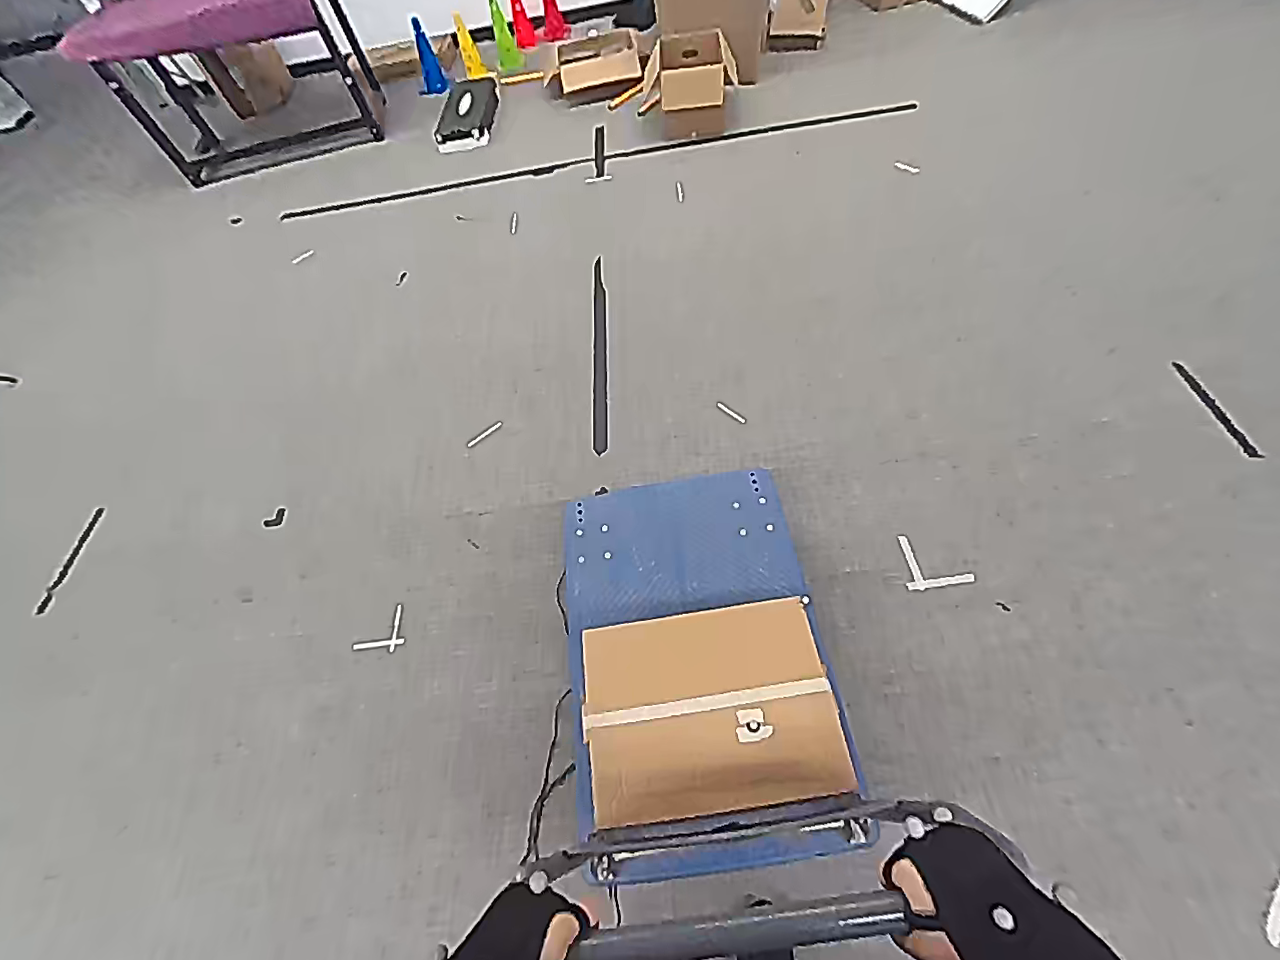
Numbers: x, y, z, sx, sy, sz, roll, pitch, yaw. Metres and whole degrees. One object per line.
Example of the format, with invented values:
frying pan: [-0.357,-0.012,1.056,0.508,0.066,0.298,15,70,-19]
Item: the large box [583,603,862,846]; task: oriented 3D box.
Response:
large box: [0.127,0.460,1.000,0.408,0.320,0.320,-9,57,1]
